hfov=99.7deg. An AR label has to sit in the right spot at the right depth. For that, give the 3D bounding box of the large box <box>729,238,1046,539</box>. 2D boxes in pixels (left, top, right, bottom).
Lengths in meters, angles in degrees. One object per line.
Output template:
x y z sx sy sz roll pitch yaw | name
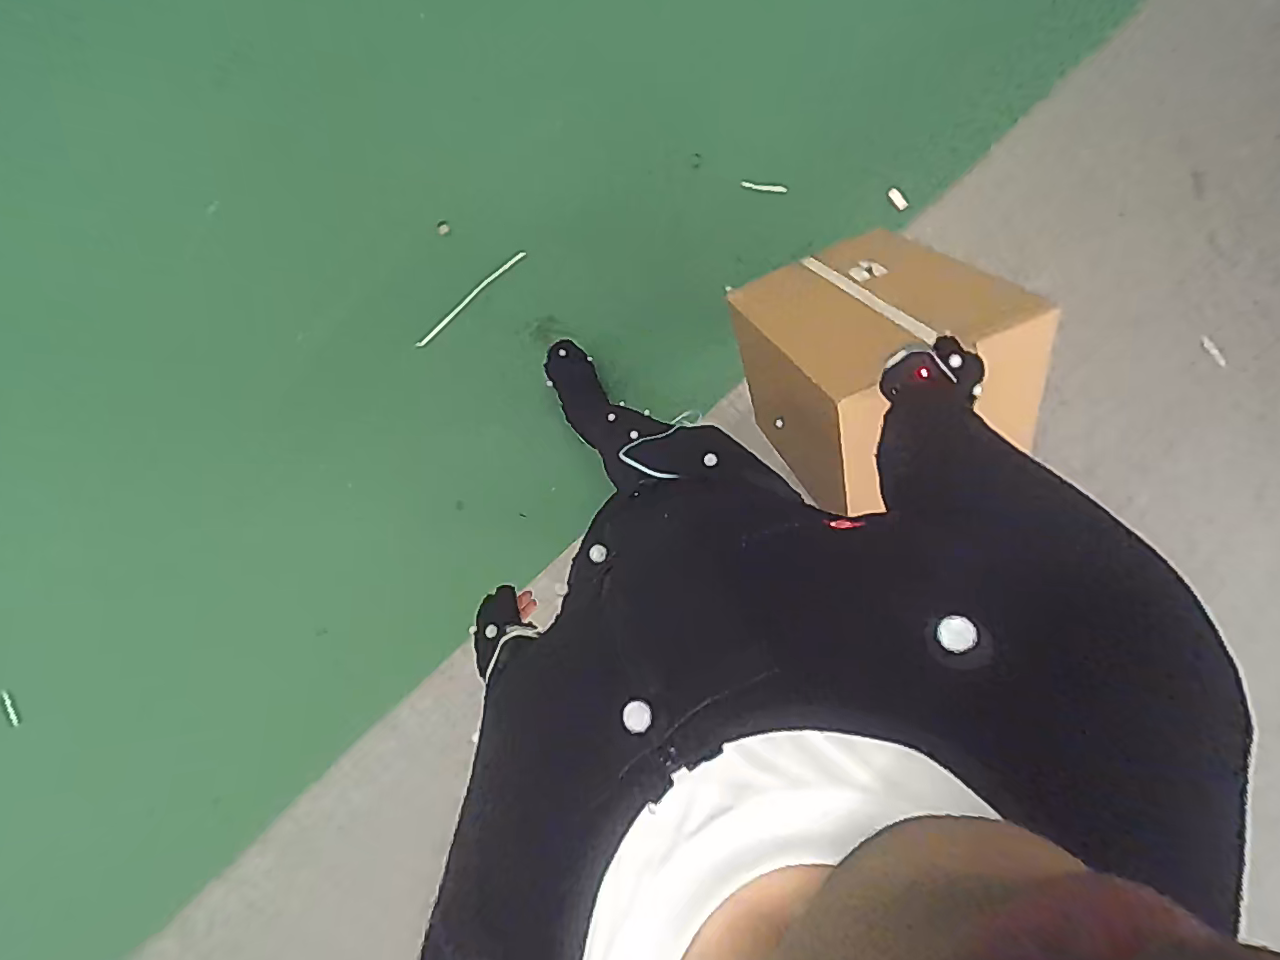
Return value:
0.399 -0.173 0.955 0.320 0.408 0.320 -22 129 1 | large box
